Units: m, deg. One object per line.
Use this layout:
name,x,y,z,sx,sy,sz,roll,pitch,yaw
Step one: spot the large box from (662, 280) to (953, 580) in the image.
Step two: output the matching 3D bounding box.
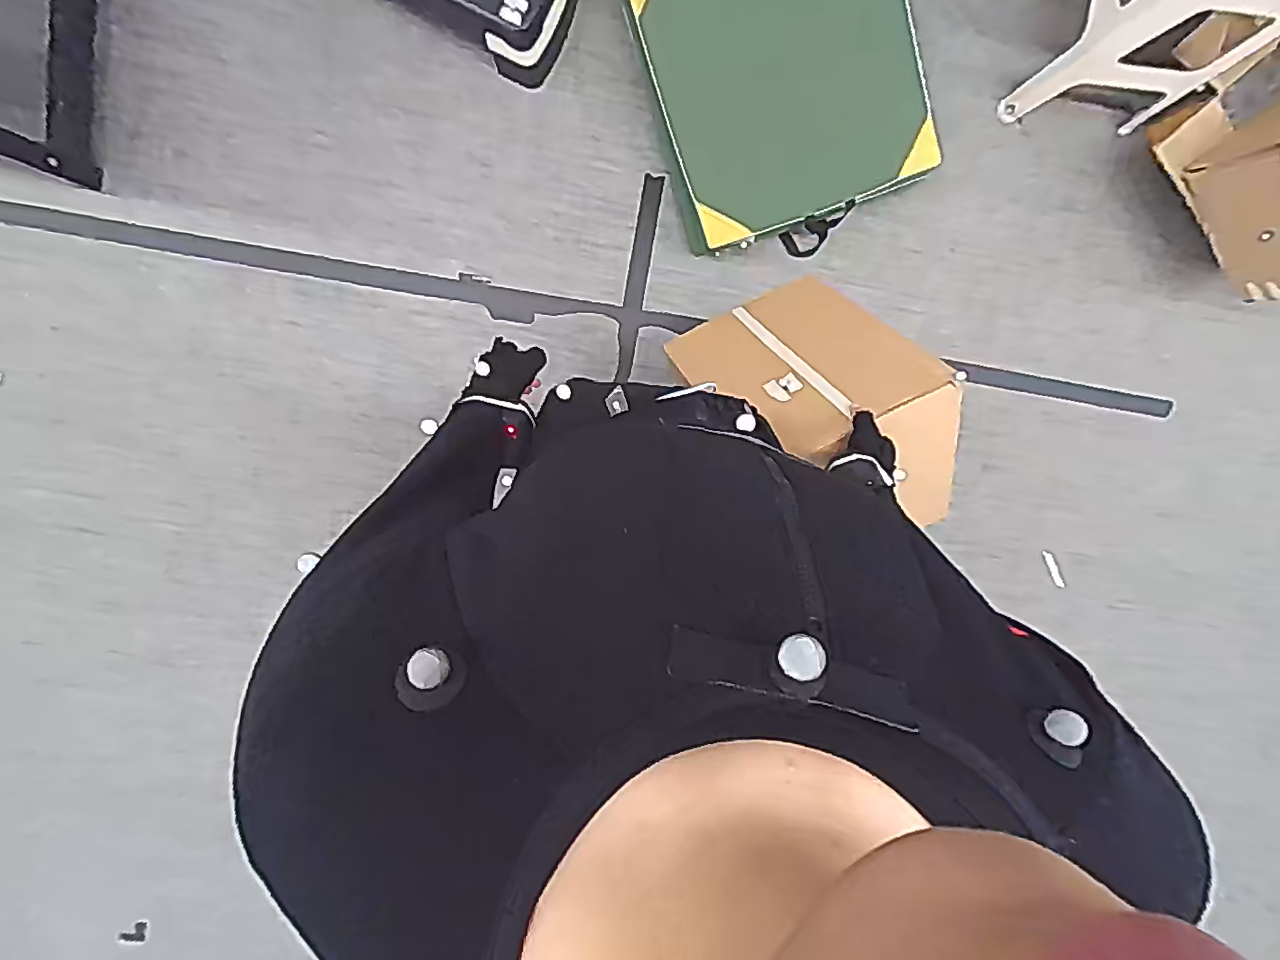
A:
large box,0.283,-0.102,0.998,0.320,0.408,0.320,-26,135,0
